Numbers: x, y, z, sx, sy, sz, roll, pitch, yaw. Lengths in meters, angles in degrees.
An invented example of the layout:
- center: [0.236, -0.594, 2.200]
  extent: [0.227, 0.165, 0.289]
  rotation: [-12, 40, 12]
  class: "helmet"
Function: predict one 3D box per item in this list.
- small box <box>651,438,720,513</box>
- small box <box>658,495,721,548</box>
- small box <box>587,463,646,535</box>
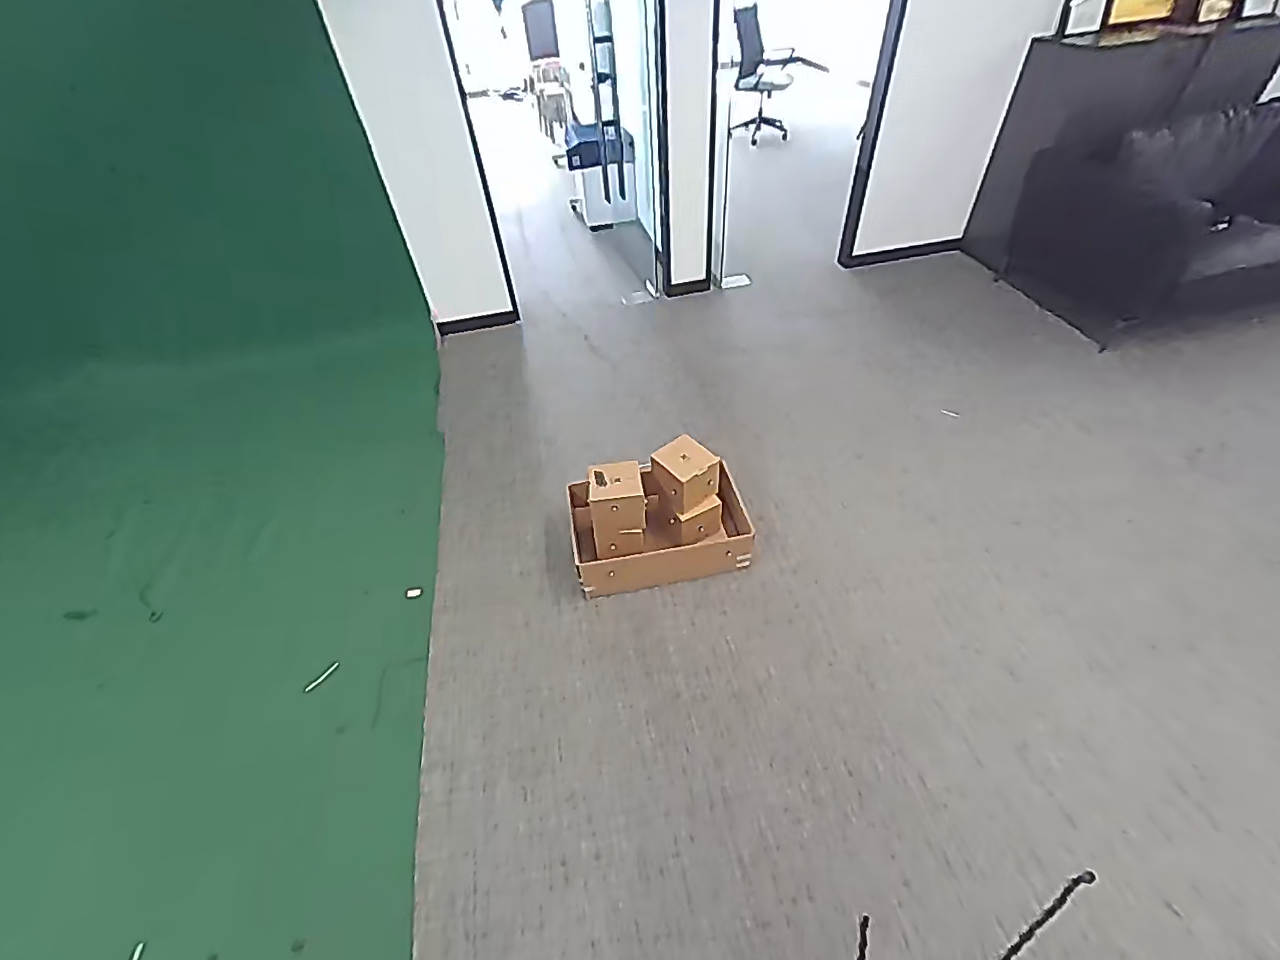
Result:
- center: [0.157, -0.010, 1.869]
  extent: [0.168, 0.176, 0.179]
  rotation: [-30, 51, -23]
  class: "small box"
- center: [0.181, 0.124, 1.965]
  extent: [0.168, 0.176, 0.179]
  rotation: [-22, 48, -16]
  class: "small box"
- center: [-0.078, 0.067, 1.811]
  extent: [0.179, 0.176, 0.168]
  rotation: [-6, 45, -3]
  class: "small box"
